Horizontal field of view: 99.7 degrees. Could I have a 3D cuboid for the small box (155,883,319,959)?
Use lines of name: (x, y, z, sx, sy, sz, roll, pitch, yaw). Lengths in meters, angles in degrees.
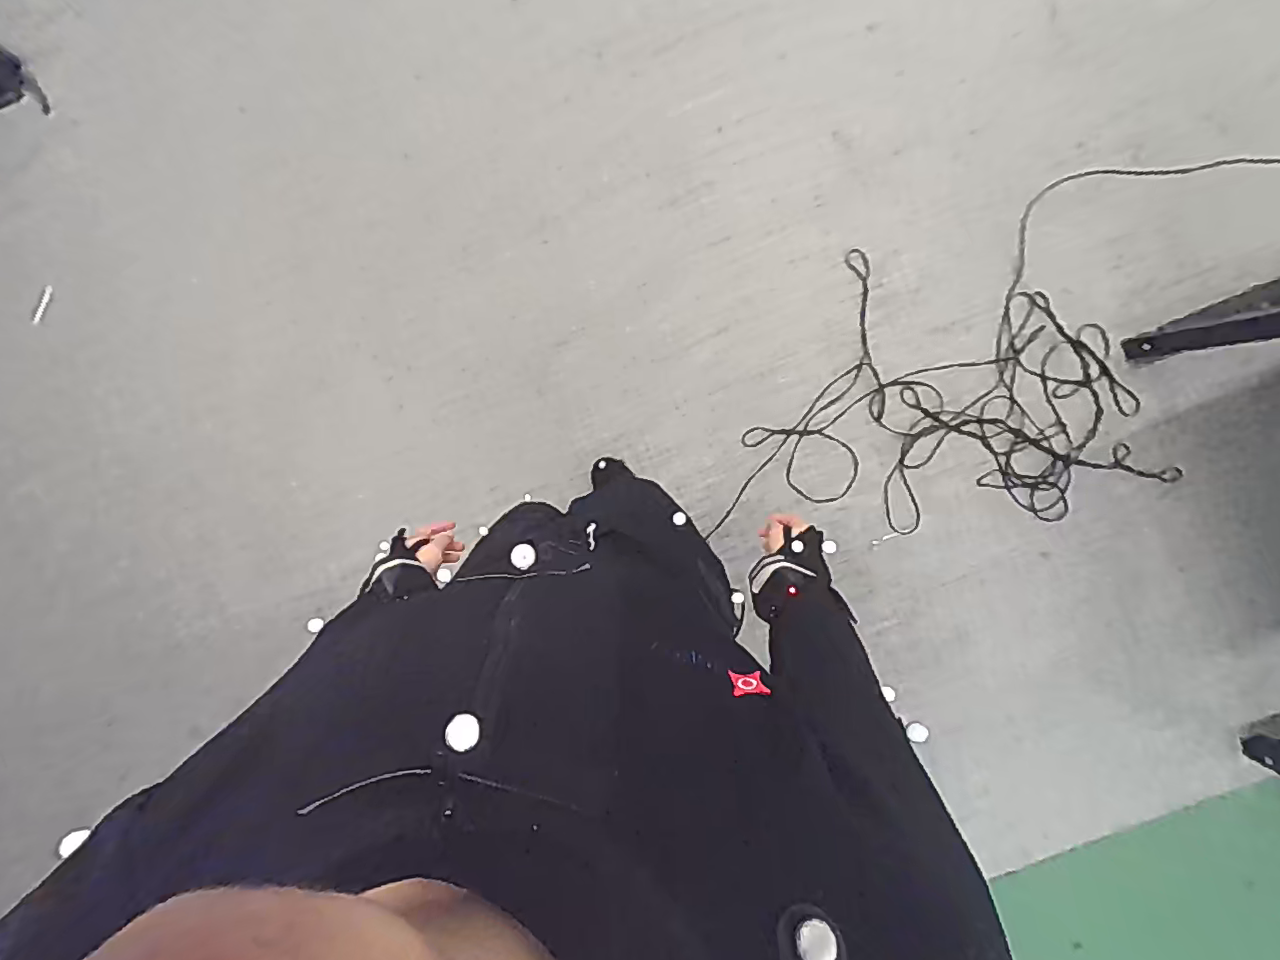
small box: (-0.650, 0.803, 0.868, 0.168, 0.176, 0.179, -12, 94, 2)
